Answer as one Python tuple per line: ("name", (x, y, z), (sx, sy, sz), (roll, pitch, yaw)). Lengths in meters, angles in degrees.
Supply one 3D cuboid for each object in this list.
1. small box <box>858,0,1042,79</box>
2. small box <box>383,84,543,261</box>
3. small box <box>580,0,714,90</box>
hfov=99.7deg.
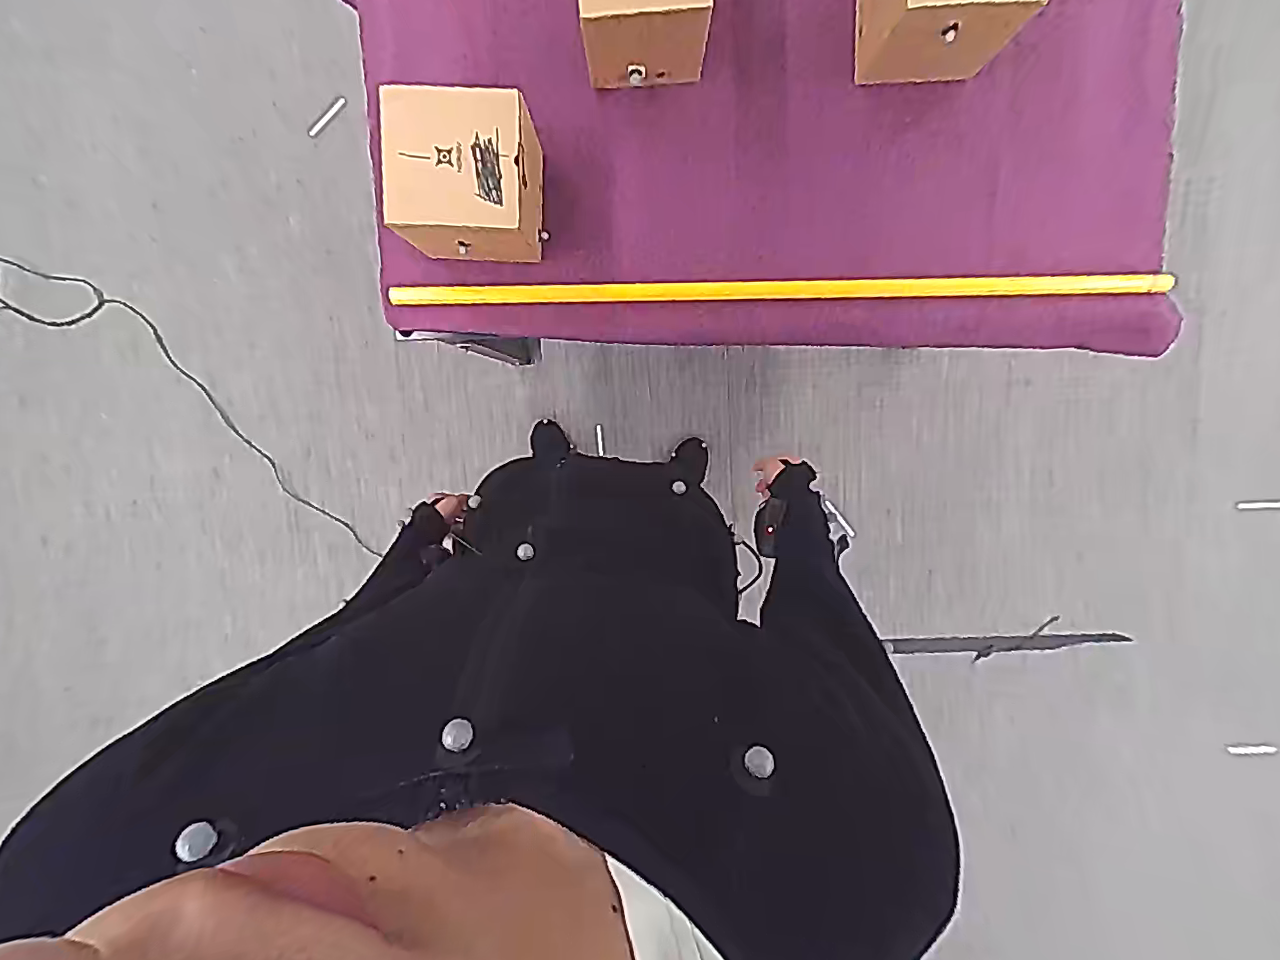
("small box", (0.406, -0.667, 0.717), (0.179, 0.176, 0.168), (-2, 99, 1))
("small box", (-0.233, -0.413, 0.754), (0.179, 0.176, 0.168), (2, 98, -1))
("small box", (0.004, -0.666, 0.721), (0.168, 0.176, 0.179), (-4, 99, 2))
